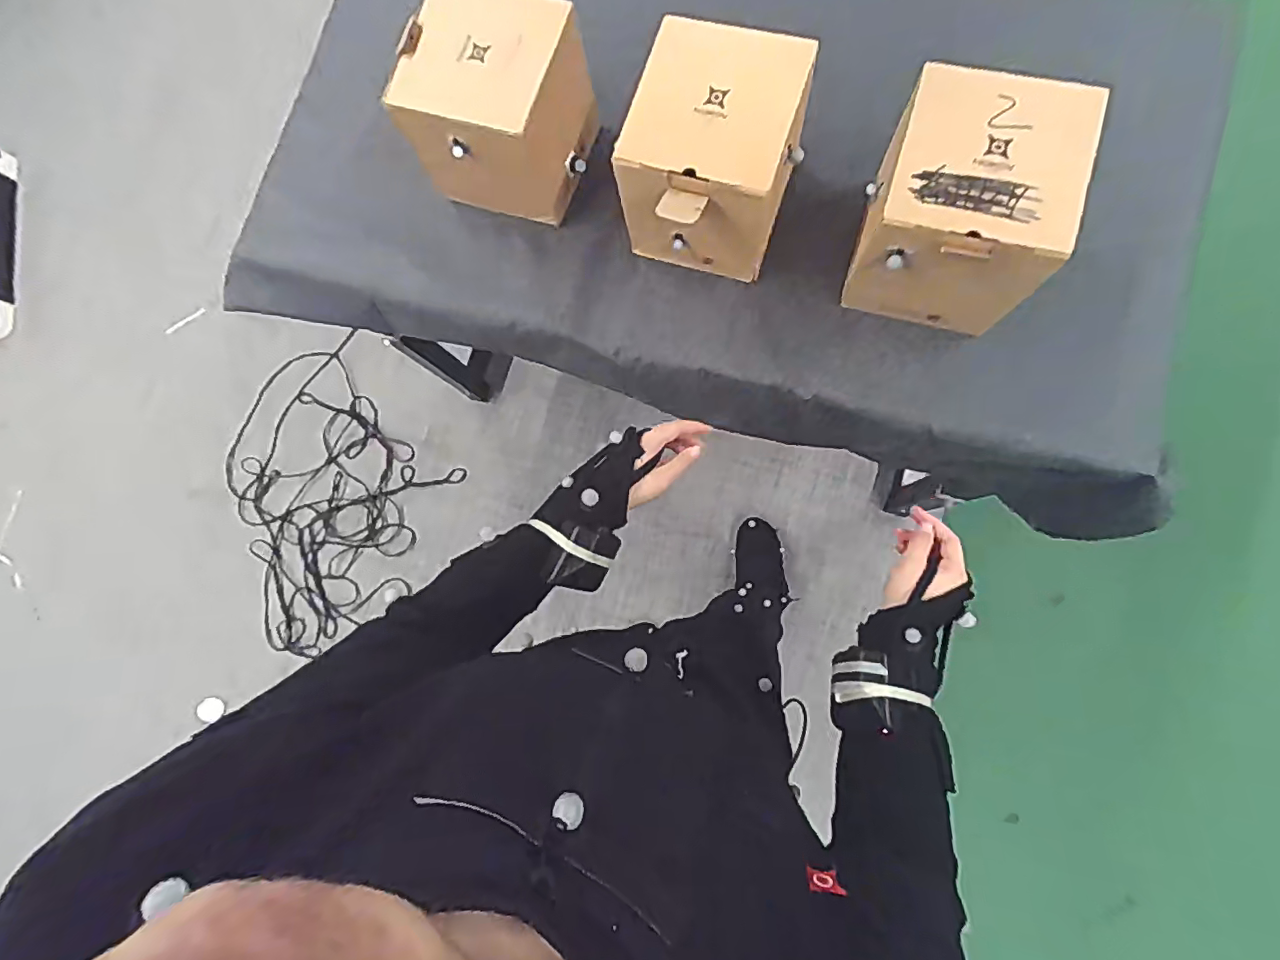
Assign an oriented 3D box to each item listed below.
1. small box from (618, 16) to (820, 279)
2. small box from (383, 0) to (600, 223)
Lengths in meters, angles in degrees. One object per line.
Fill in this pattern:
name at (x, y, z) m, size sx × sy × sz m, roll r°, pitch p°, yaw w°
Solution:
small box at (0.087, -0.367, 0.623) m, size 0.168 × 0.176 × 0.179 m, roll 18°, pitch 84°, yaw 9°
small box at (-0.167, -0.450, 0.665) m, size 0.179 × 0.176 × 0.168 m, roll 19°, pitch 84°, yaw 9°
